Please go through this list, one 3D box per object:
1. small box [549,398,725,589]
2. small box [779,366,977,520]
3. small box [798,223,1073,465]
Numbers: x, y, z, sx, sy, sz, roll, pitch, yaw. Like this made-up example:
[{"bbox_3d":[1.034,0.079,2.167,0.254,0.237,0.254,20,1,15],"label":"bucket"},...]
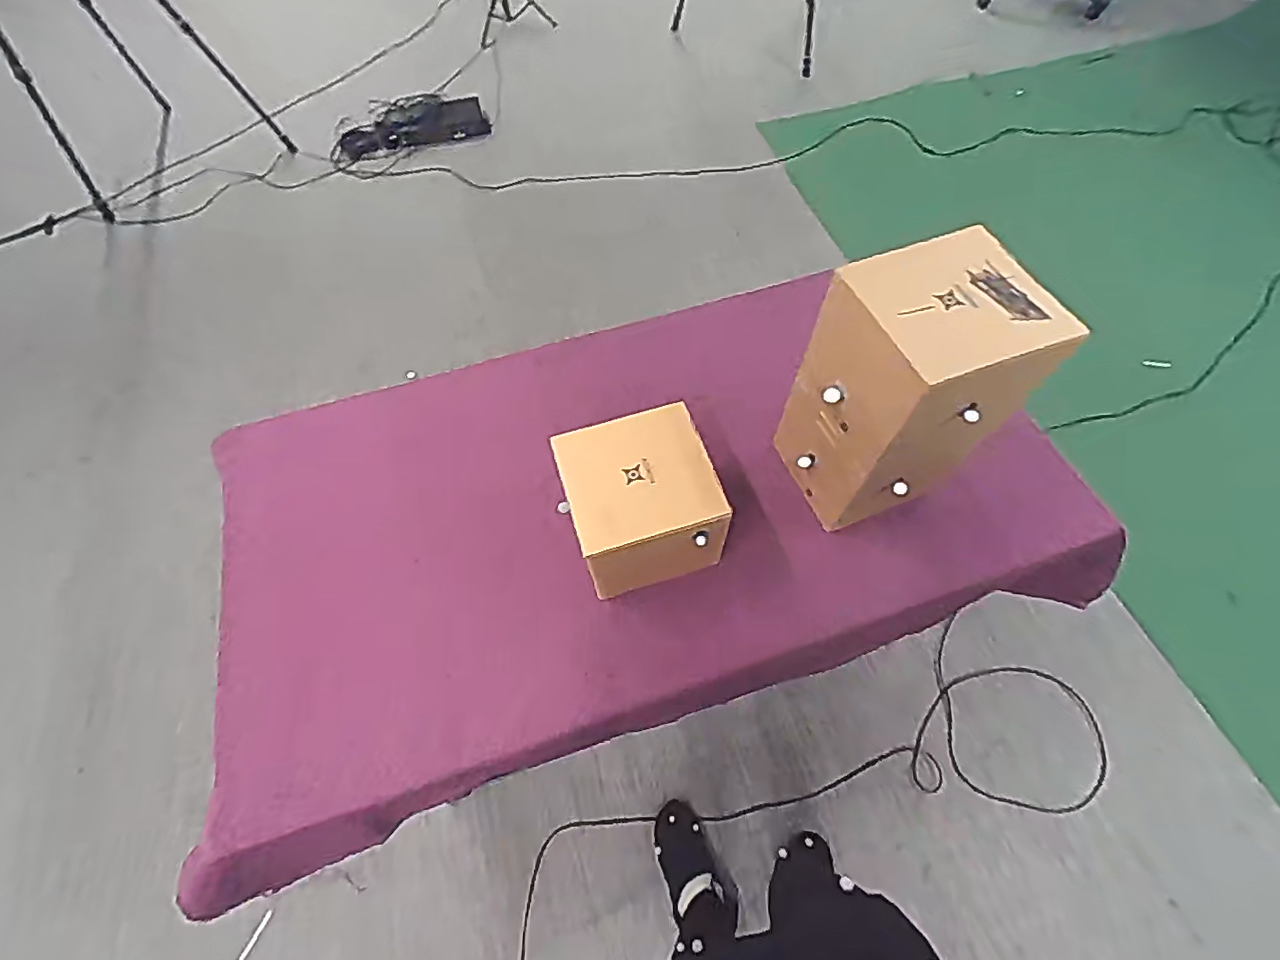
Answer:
[{"bbox_3d":[-0.005,0.025,0.709,0.179,0.176,0.168,-16,62,-8],"label":"small box"},{"bbox_3d":[0.307,-0.067,0.745,0.179,0.176,0.168,-20,63,-8],"label":"small box"},{"bbox_3d":[0.302,-0.143,0.599,0.179,0.176,0.168,-19,62,-7],"label":"small box"}]
